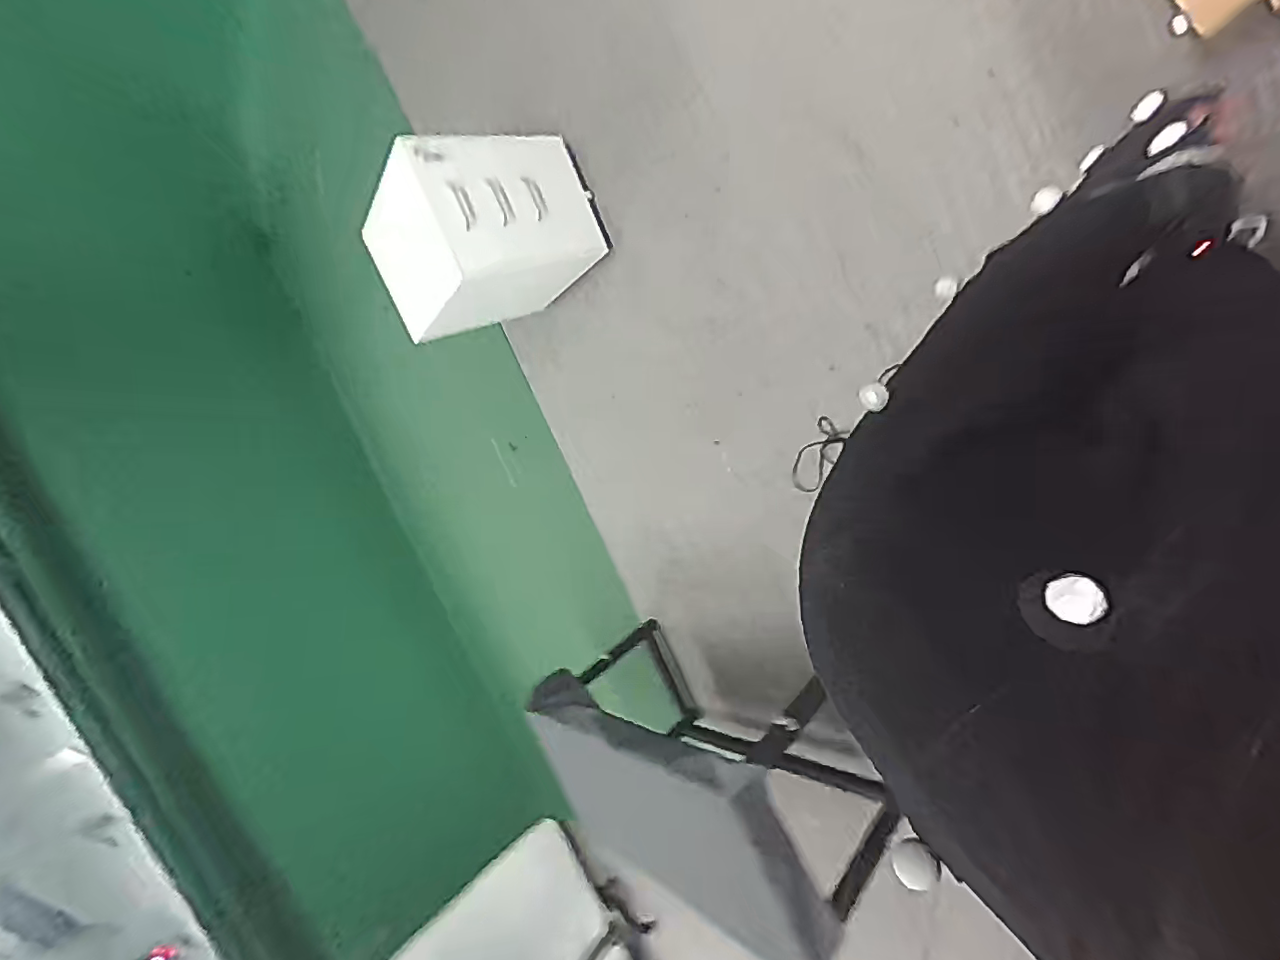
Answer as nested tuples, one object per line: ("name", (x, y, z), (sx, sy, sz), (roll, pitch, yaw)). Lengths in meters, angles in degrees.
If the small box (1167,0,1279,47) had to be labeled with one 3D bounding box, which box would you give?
("small box", (0.812, -0.722, 0.720), (0.179, 0.176, 0.168), (58, 143, 4))
